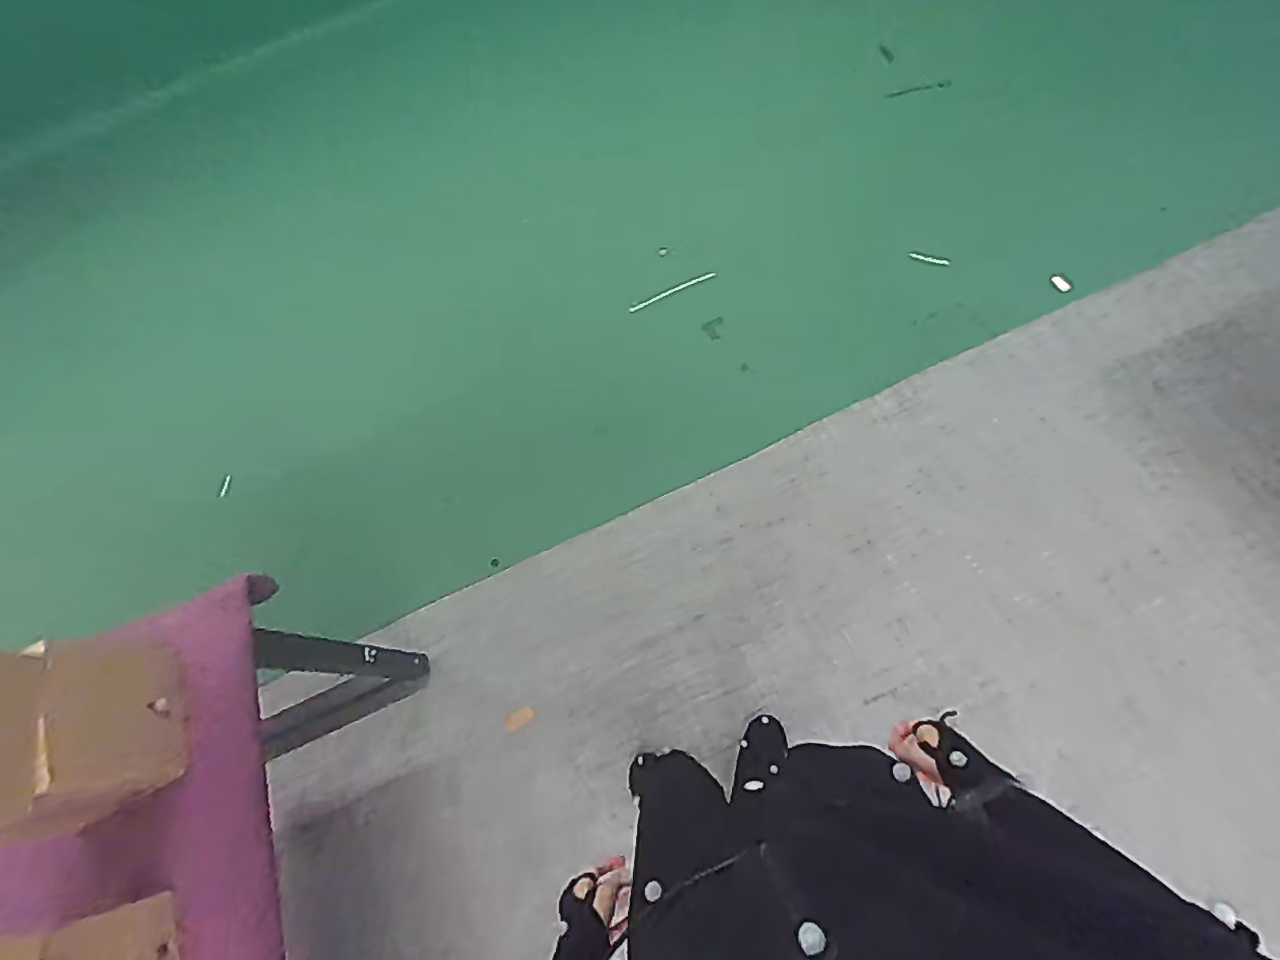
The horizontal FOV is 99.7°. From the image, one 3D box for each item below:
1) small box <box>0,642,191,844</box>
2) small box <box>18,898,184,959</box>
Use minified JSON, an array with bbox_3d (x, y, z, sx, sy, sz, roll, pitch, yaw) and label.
[{"bbox_3d":[-0.712,0.327,0.674,0.168,0.176,0.179,-28,66,-2],"label":"small box"},{"bbox_3d":[-0.618,0.582,0.553,0.179,0.176,0.168,-31,67,-3],"label":"small box"}]
